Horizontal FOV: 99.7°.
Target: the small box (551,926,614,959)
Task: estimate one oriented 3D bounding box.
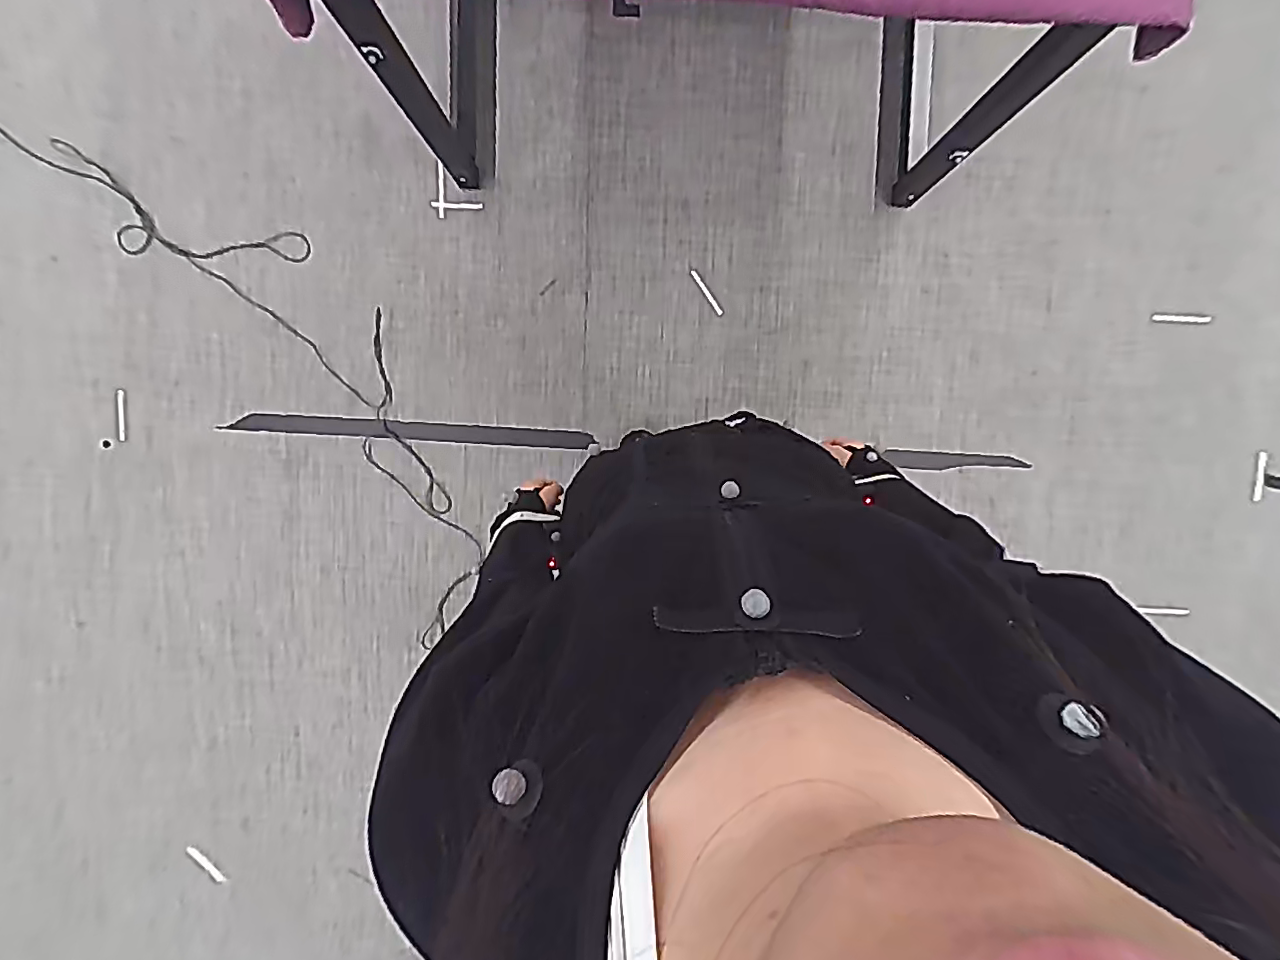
[{"bbox_3d":[-0.156,1.377,1.480,0.168,0.176,0.179,-4,95,-1],"label":"small box"}]
